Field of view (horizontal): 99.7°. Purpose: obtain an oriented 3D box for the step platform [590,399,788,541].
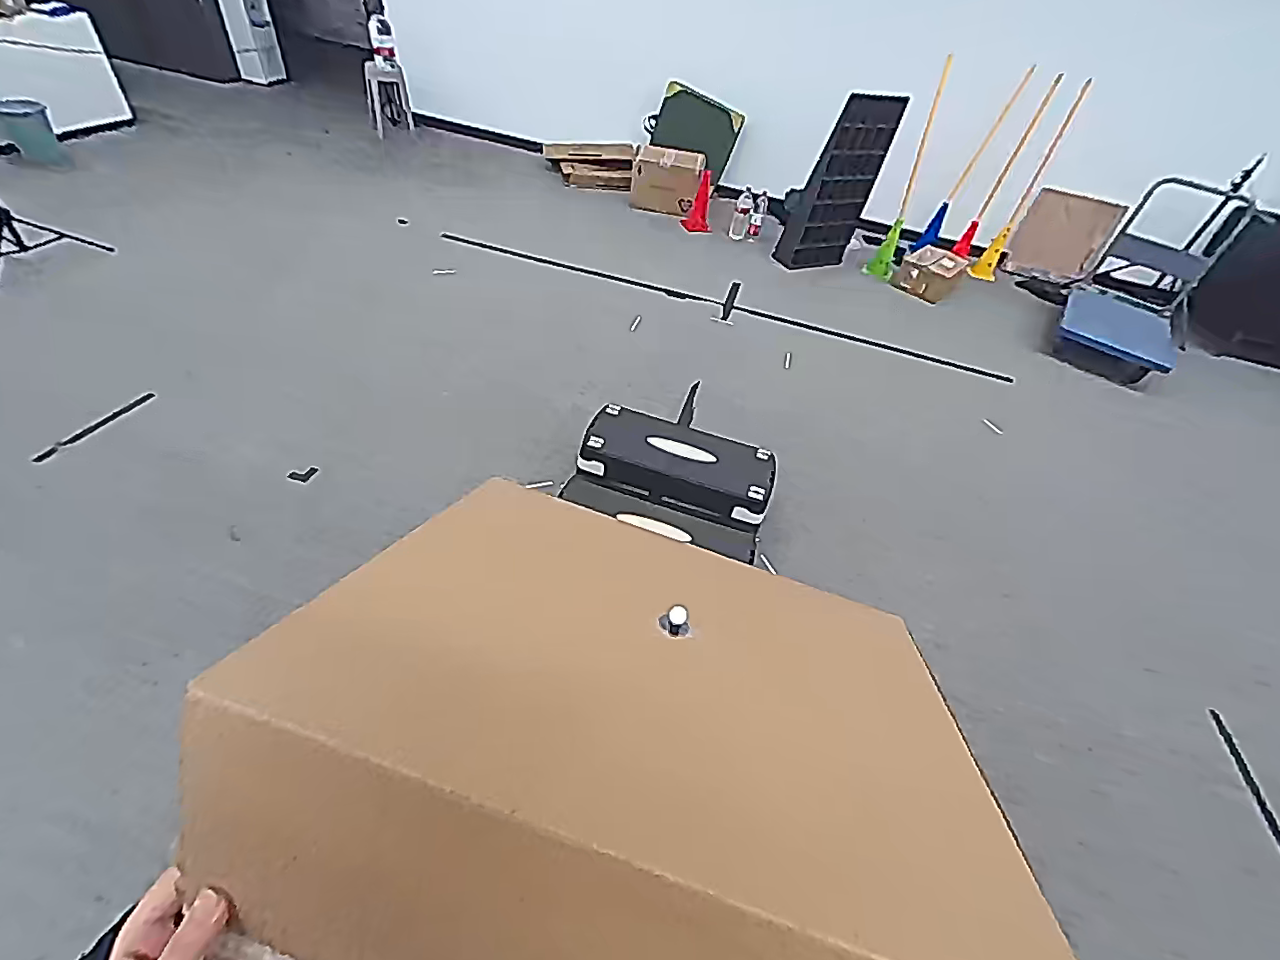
[{"bbox_3d":[0.171,-0.049,1.917,0.684,0.204,0.286,22,46,9],"label":"step platform"}]
